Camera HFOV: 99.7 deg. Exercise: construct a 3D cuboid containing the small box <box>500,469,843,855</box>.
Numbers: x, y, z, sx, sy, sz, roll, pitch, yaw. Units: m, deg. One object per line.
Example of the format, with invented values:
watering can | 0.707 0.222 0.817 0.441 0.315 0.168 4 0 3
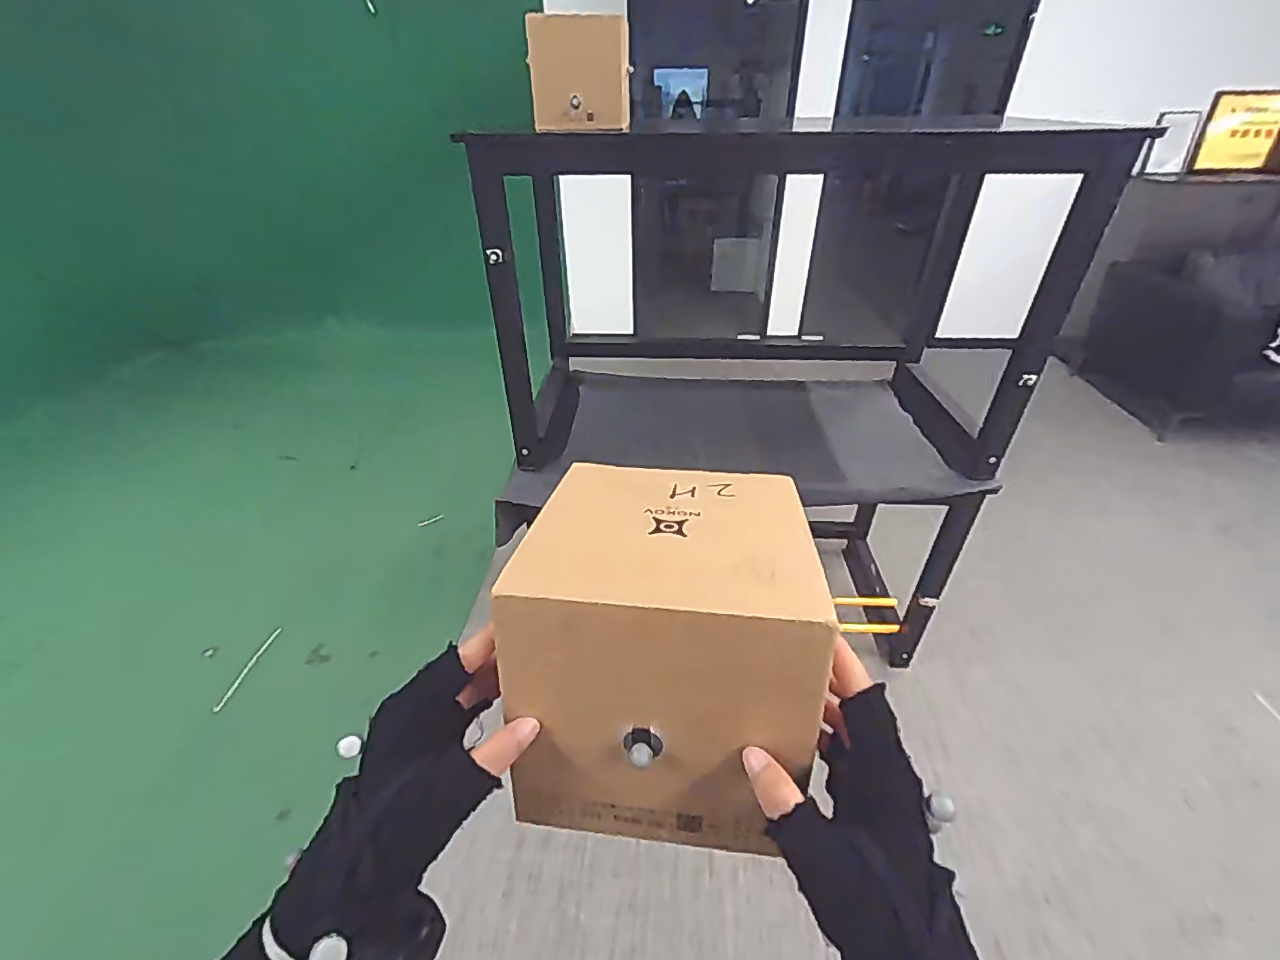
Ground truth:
small box | 0.023 0.105 0.358 0.168 0.176 0.179 4 23 6
